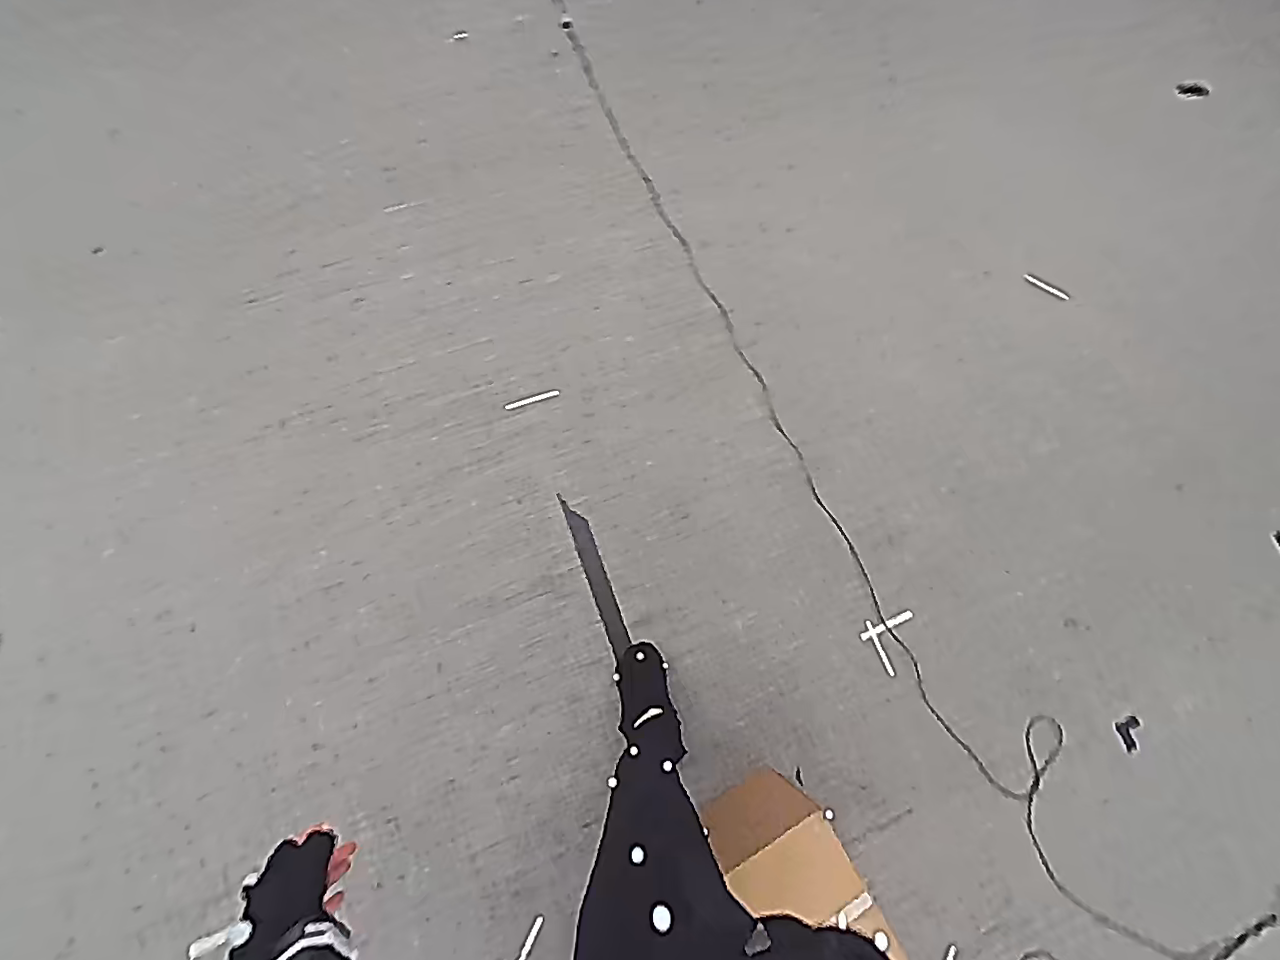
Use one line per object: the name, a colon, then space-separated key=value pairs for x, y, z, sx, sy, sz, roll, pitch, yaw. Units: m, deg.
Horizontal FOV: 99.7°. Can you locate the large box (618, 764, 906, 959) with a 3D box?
large box: x=0.206 y=0.840 z=1.063 sx=0.408 sy=0.320 sz=0.320 roll=-26 pitch=79 yaw=-12
